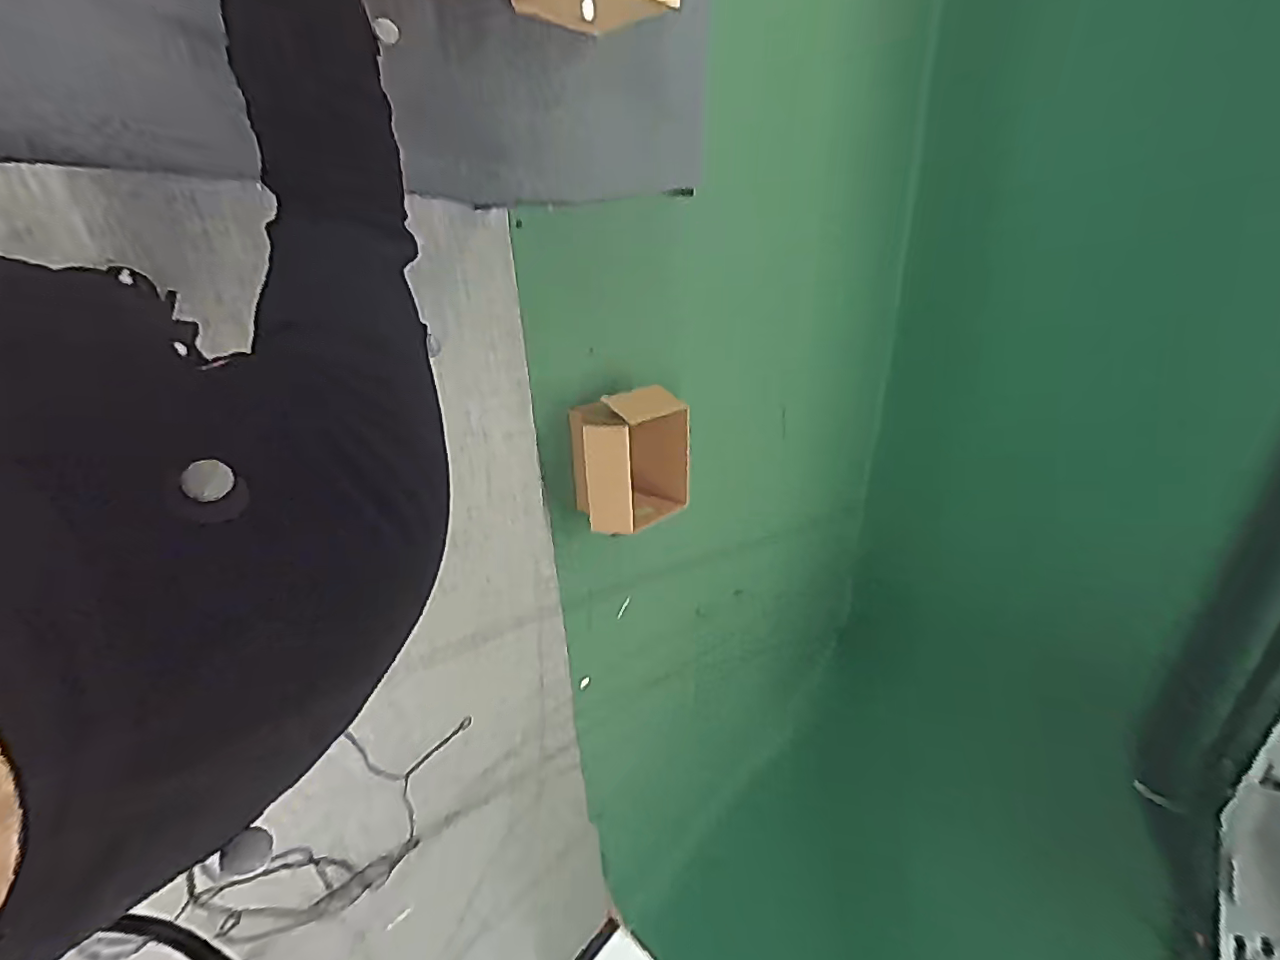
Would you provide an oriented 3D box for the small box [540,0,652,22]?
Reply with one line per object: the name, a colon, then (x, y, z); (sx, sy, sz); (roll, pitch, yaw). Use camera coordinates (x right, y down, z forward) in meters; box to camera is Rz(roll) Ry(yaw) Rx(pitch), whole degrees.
small box: (-0.057, -0.734, 0.699); (0.168, 0.176, 0.179); (-24, 123, -41)
